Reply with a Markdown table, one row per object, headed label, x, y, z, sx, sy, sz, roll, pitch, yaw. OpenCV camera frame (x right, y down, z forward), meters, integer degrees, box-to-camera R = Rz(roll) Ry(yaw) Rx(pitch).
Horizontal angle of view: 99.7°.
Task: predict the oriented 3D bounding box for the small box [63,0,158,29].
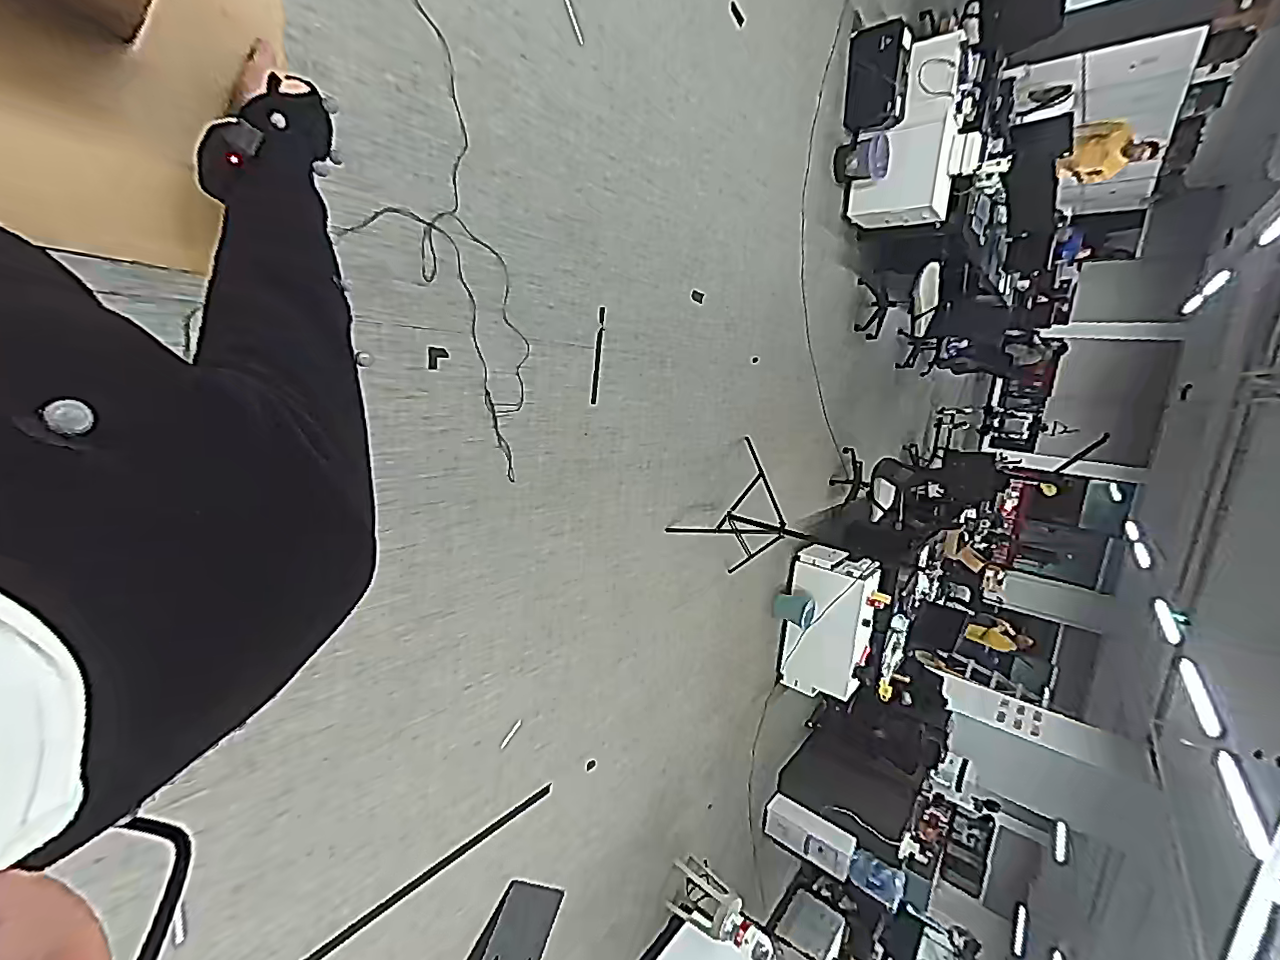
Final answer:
| label | x | y | z | sx | sy | sz | roll | pitch | yaw |
| --- | --- | --- | --- | --- | --- | --- | --- | --- | --- |
| small box | -0.438 | -0.484 | 0.382 | 0.179 | 0.176 | 0.168 | 10 | 84 | -51 |
